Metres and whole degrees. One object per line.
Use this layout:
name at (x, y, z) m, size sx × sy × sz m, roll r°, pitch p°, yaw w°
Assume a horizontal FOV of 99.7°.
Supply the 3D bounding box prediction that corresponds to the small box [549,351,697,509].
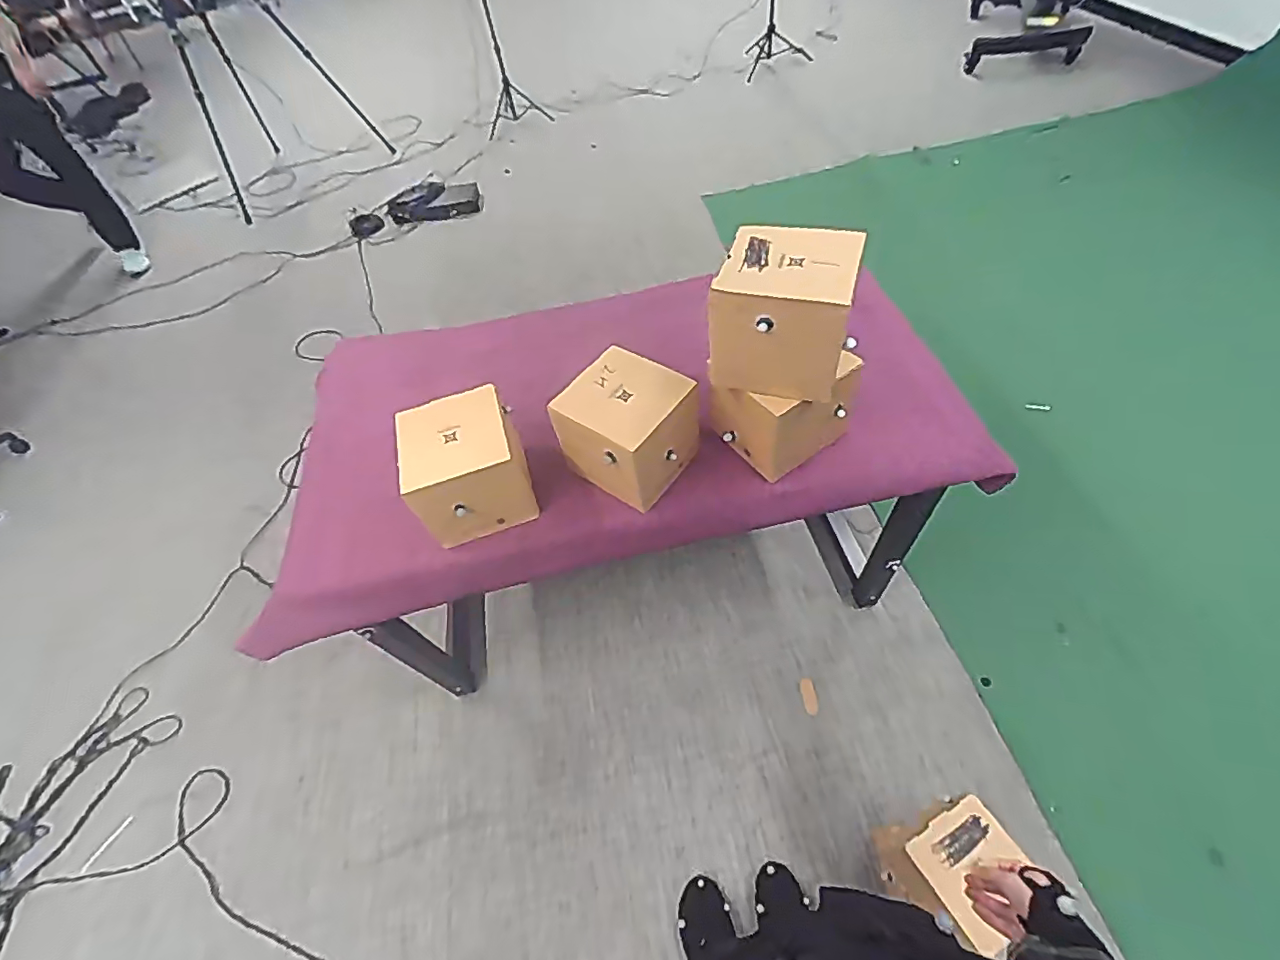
small box at (-0.018, -0.077, 0.898) m, size 0.179 × 0.176 × 0.168 m, roll 30°, pitch 62°, yaw 26°

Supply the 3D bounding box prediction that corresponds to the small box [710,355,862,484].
small box at (0.233, -0.127, 0.902) m, size 0.179 × 0.176 × 0.168 m, roll -32°, pitch 54°, yaw -14°

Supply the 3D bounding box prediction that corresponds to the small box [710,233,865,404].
small box at (0.207, -0.230, 0.778) m, size 0.179 × 0.176 × 0.168 m, roll 13°, pitch 55°, yaw 18°

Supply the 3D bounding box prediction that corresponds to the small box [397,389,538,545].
small box at (-0.279, -0.014, 0.890) m, size 0.168 × 0.176 × 0.179 m, roll -19°, pitch 53°, yaw -6°

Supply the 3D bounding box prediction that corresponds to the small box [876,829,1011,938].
small box at (0.590, 0.806, 1.085) m, size 0.179 × 0.176 × 0.168 m, roll -5°, pitch 55°, yaw 5°
